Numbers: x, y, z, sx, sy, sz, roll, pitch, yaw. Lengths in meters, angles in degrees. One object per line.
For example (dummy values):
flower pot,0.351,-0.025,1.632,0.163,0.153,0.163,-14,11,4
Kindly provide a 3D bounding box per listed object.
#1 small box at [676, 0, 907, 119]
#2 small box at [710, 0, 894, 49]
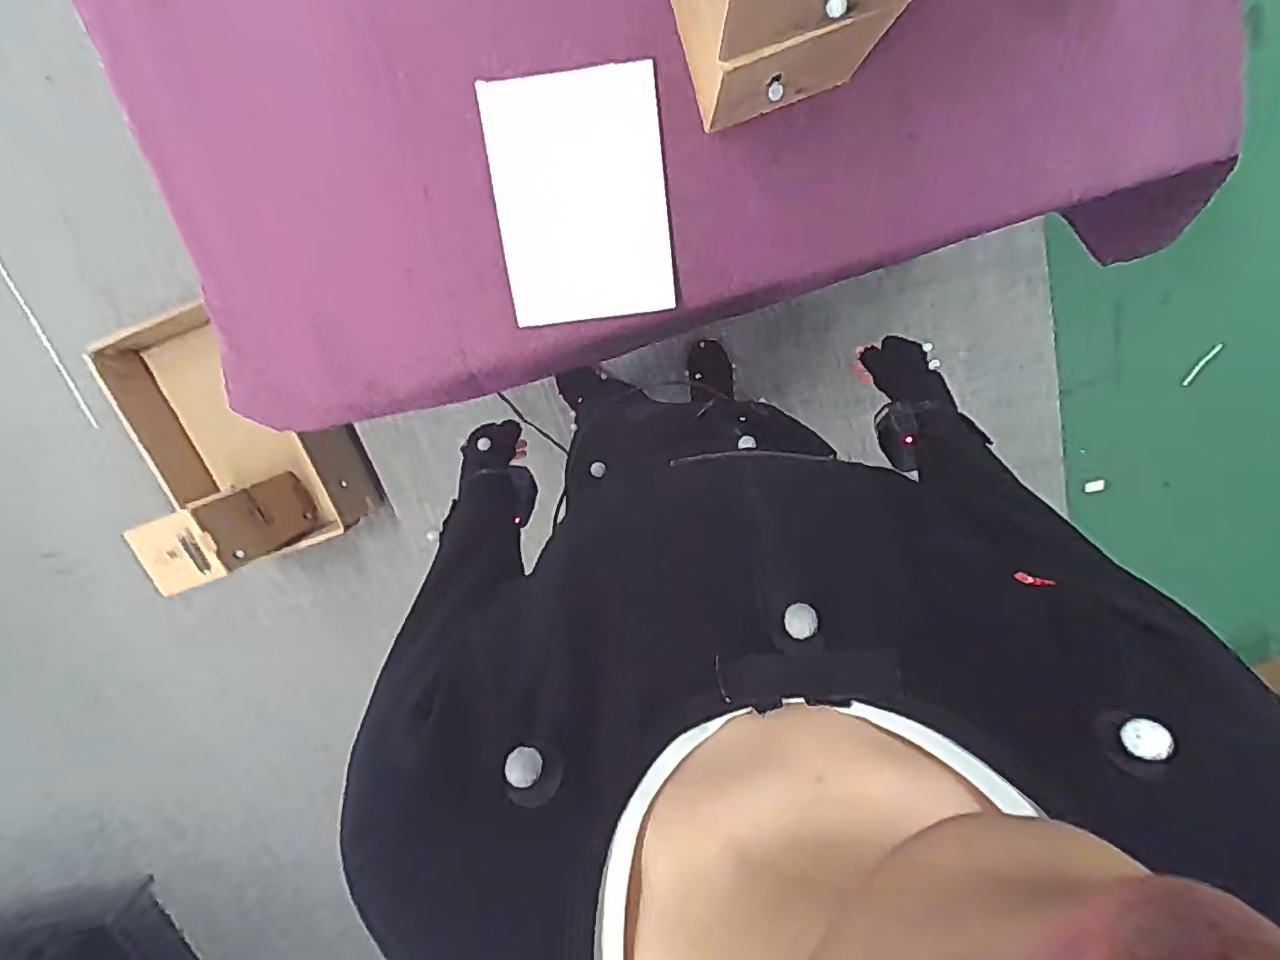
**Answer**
small box,0.126,-0.476,0.509,0.168,0.176,0.179,-17,104,7
small box,0.121,-0.436,0.348,0.168,0.176,0.179,-14,105,7
